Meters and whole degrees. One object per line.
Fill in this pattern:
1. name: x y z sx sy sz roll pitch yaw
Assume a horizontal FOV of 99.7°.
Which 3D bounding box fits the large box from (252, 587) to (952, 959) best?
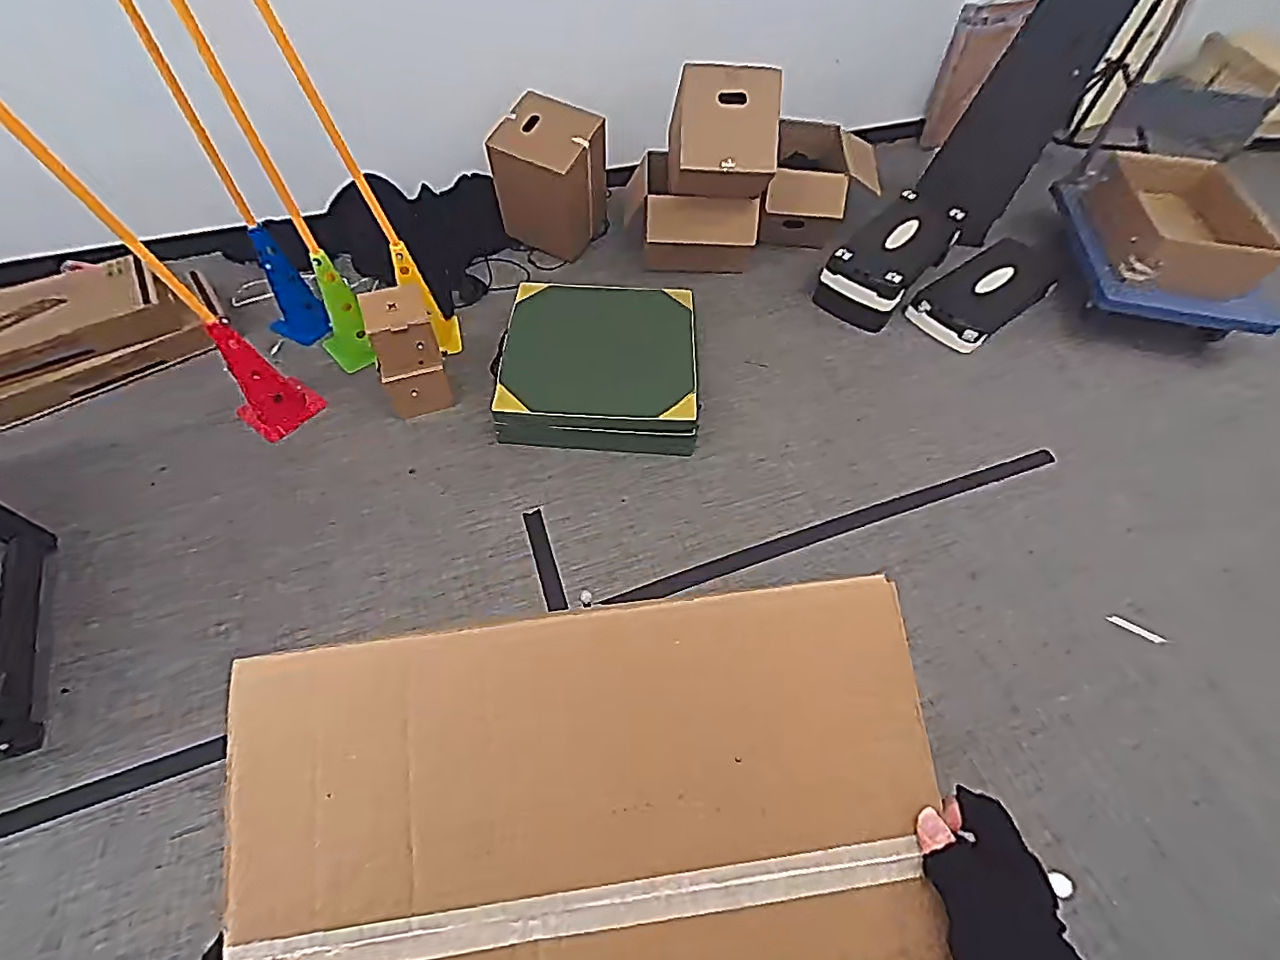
1. large box: -0.024 0.274 0.462 0.408 0.320 0.320 -7 78 -3
